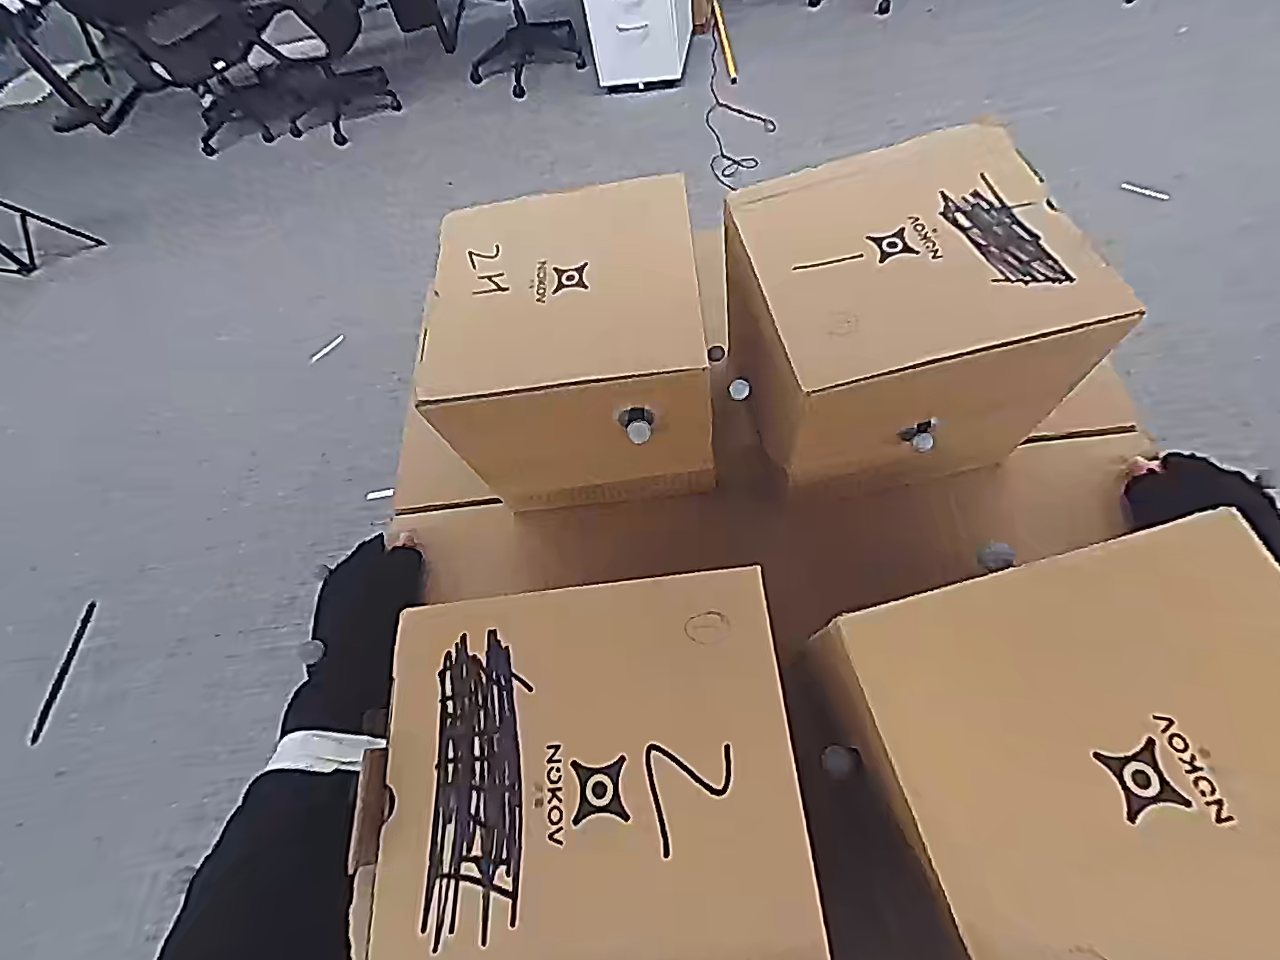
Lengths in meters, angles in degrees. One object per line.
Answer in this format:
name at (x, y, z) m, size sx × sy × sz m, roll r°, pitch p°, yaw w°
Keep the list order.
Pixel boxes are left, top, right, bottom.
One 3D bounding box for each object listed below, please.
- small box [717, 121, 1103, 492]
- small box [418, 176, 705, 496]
small box at (0.161, -0.109, 0.395) m, size 0.179 × 0.176 × 0.168 m, roll -14°, pitch 63°, yaw 5°
small box at (-0.041, -0.098, 0.426) m, size 0.179 × 0.176 × 0.168 m, roll -6°, pitch 63°, yaw 7°
